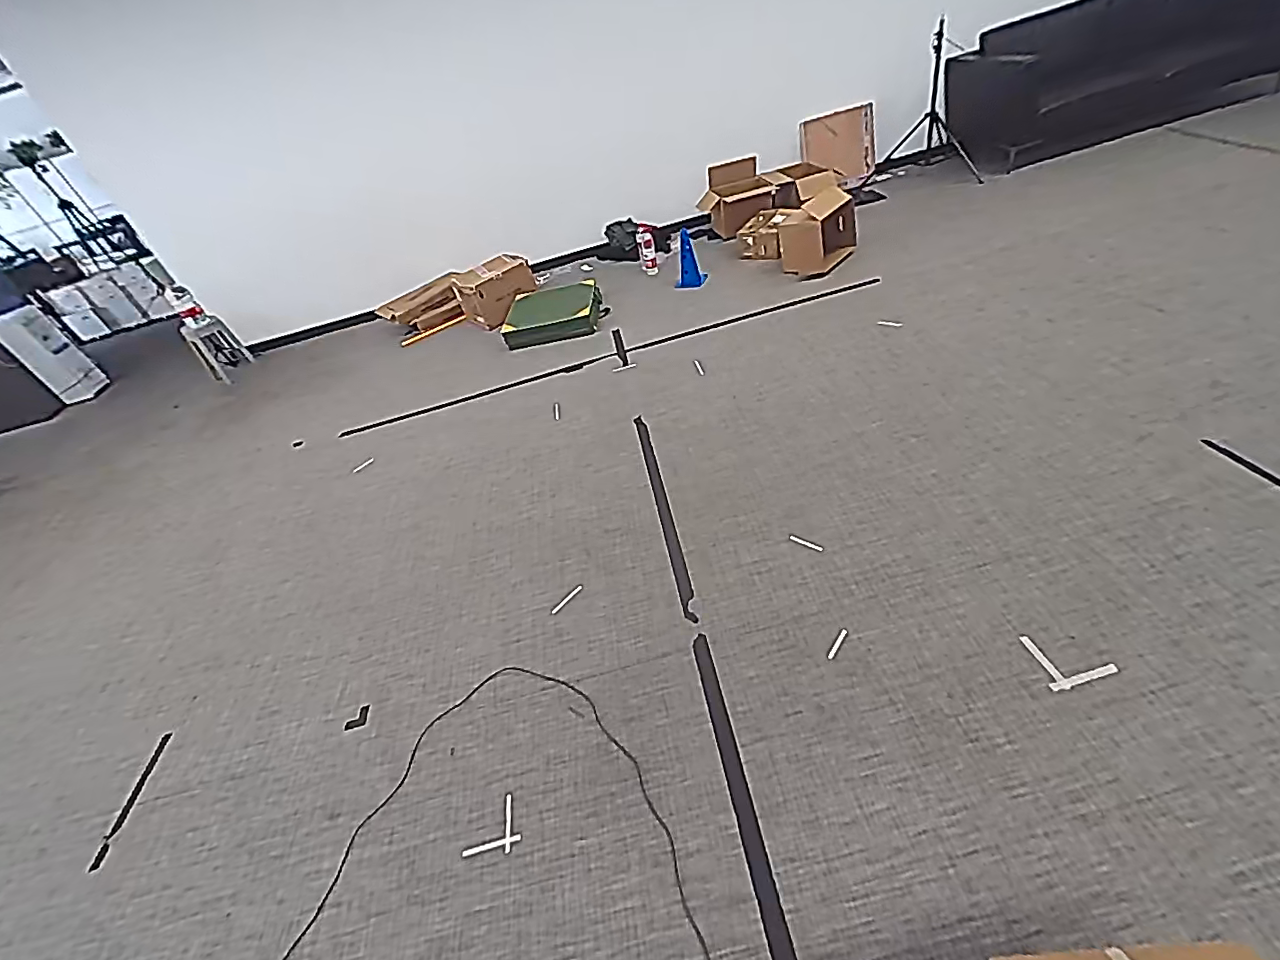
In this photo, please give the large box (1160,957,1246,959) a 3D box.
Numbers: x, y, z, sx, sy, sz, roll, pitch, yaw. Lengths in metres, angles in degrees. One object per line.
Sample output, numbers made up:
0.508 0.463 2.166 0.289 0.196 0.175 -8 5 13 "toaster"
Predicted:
0.611 0.747 0.488 0.320 0.408 0.320 -12 79 8 "large box"
